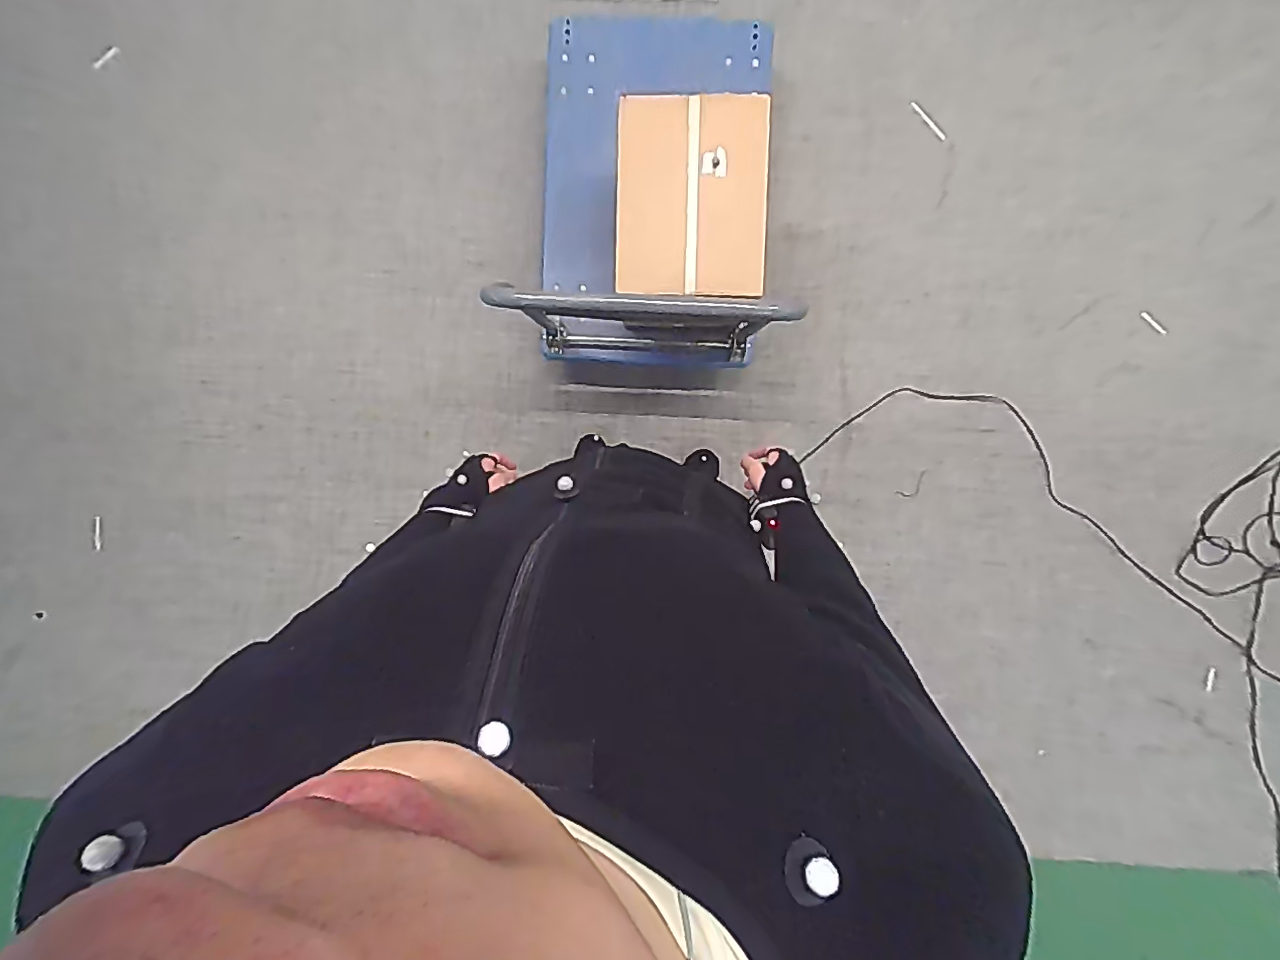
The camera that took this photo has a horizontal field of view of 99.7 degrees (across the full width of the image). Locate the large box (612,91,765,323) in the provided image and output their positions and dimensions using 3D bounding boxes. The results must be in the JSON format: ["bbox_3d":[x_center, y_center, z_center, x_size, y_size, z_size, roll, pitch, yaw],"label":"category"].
[{"bbox_3d":[0.104,-0.599,1.261,0.320,0.320,0.408,1,94,0],"label":"large box"}]
